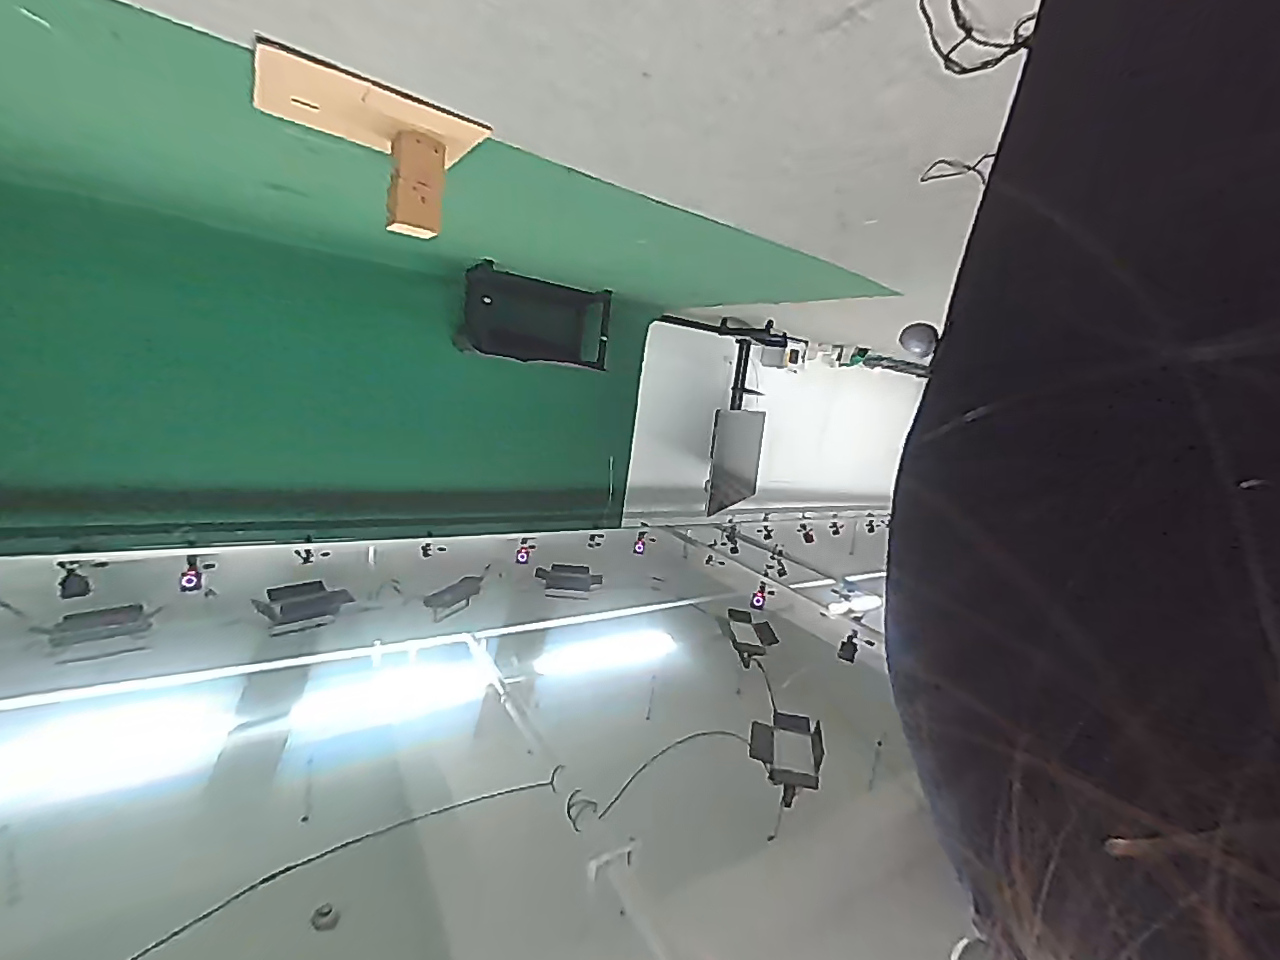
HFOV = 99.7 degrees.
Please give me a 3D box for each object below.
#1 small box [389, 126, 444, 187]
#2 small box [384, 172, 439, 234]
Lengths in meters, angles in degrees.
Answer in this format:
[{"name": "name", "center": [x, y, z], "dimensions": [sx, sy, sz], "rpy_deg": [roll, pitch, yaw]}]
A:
[{"name": "small box", "center": [-0.883, -1.264, 2.131], "dimensions": [0.168, 0.176, 0.179], "rpy_deg": [-1, -166, -37]}, {"name": "small box", "center": [-0.916, -1.108, 2.168], "dimensions": [0.168, 0.176, 0.179], "rpy_deg": [0, -167, -38]}]
